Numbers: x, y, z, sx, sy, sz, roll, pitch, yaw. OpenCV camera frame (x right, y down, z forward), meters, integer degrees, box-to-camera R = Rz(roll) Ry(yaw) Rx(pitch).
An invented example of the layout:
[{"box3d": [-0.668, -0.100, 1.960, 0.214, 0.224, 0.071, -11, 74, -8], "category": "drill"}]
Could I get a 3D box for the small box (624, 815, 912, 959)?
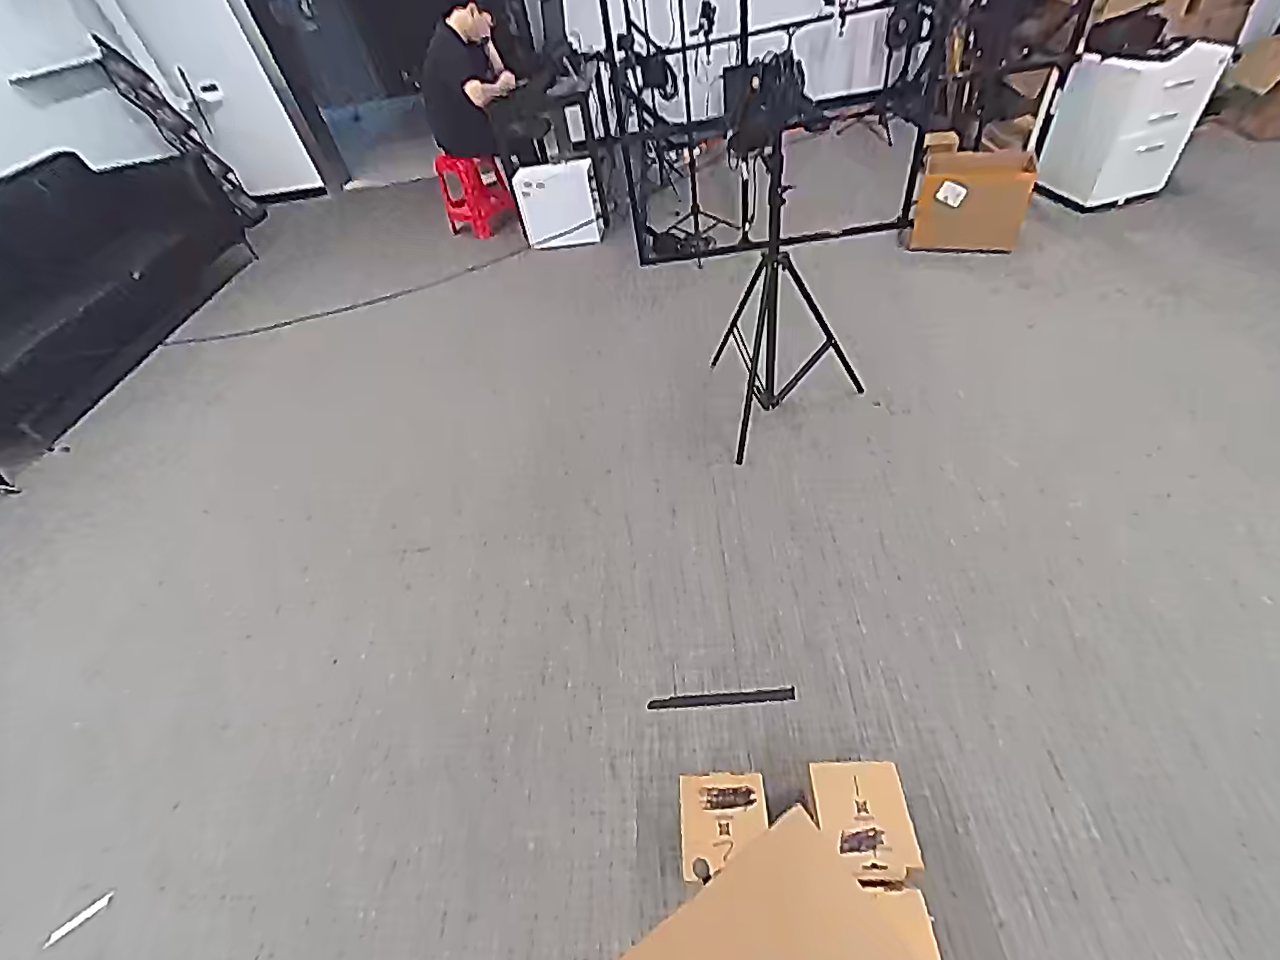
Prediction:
[{"box3d": [0.085, 0.359, 0.349, 0.179, 0.176, 0.168, -30, 54, -17], "category": "small box"}]
